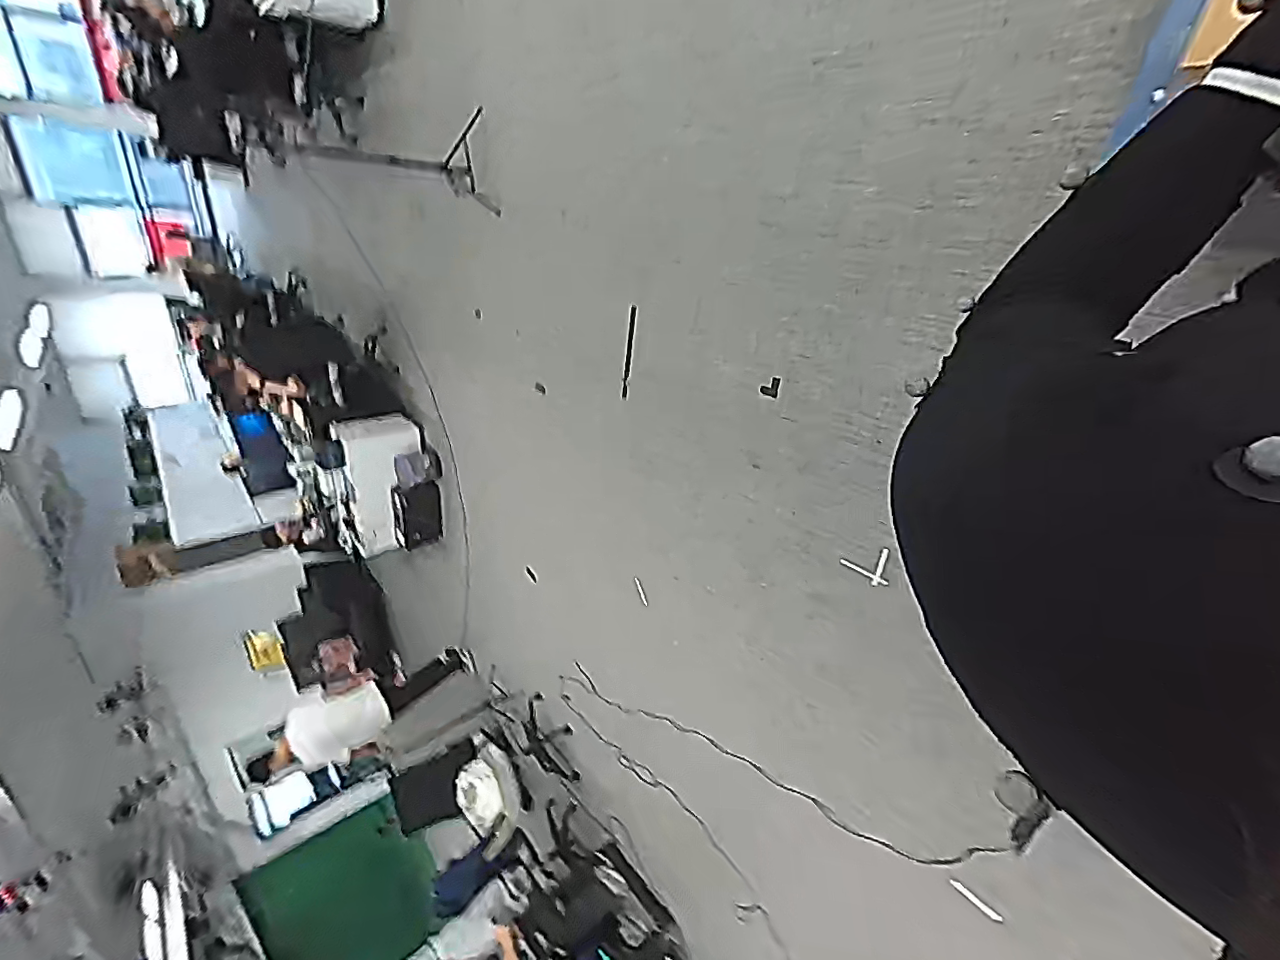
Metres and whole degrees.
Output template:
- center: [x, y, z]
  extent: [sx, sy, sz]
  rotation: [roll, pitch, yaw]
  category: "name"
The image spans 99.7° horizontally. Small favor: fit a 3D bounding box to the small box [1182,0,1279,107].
- center: [0.666, -0.477, 0.510]
  extent: [0.168, 0.176, 0.179]
  rotation: [30, 125, 39]
  category: "small box"
